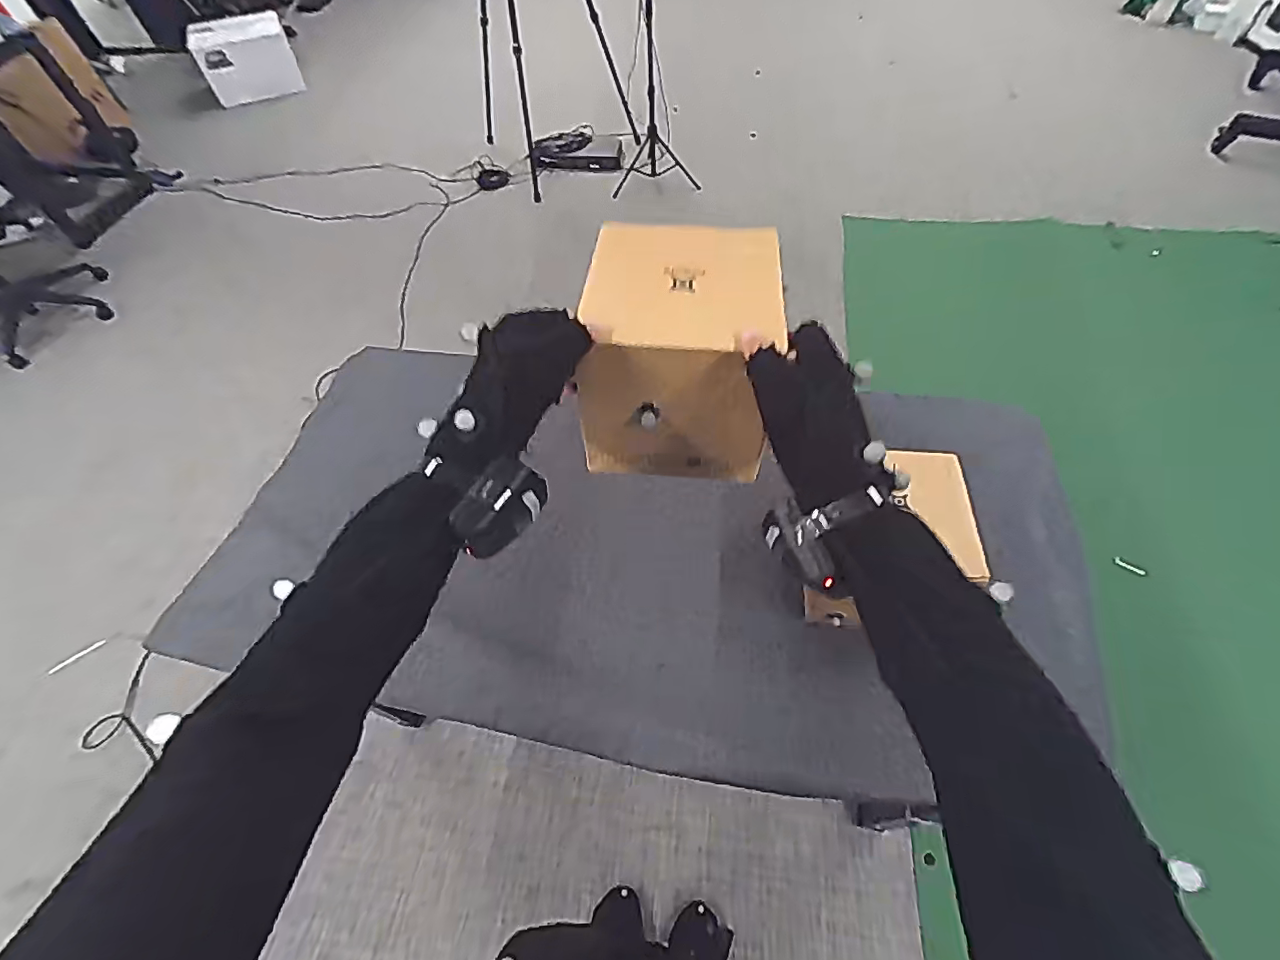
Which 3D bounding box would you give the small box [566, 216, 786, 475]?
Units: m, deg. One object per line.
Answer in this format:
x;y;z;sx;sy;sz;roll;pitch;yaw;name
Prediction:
0.036;-0.121;0.506;0.168;0.176;0.179;4;53;4;small box

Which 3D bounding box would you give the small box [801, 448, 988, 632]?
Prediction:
0.309;0.081;0.699;0.168;0.176;0.179;4;54;6;small box
